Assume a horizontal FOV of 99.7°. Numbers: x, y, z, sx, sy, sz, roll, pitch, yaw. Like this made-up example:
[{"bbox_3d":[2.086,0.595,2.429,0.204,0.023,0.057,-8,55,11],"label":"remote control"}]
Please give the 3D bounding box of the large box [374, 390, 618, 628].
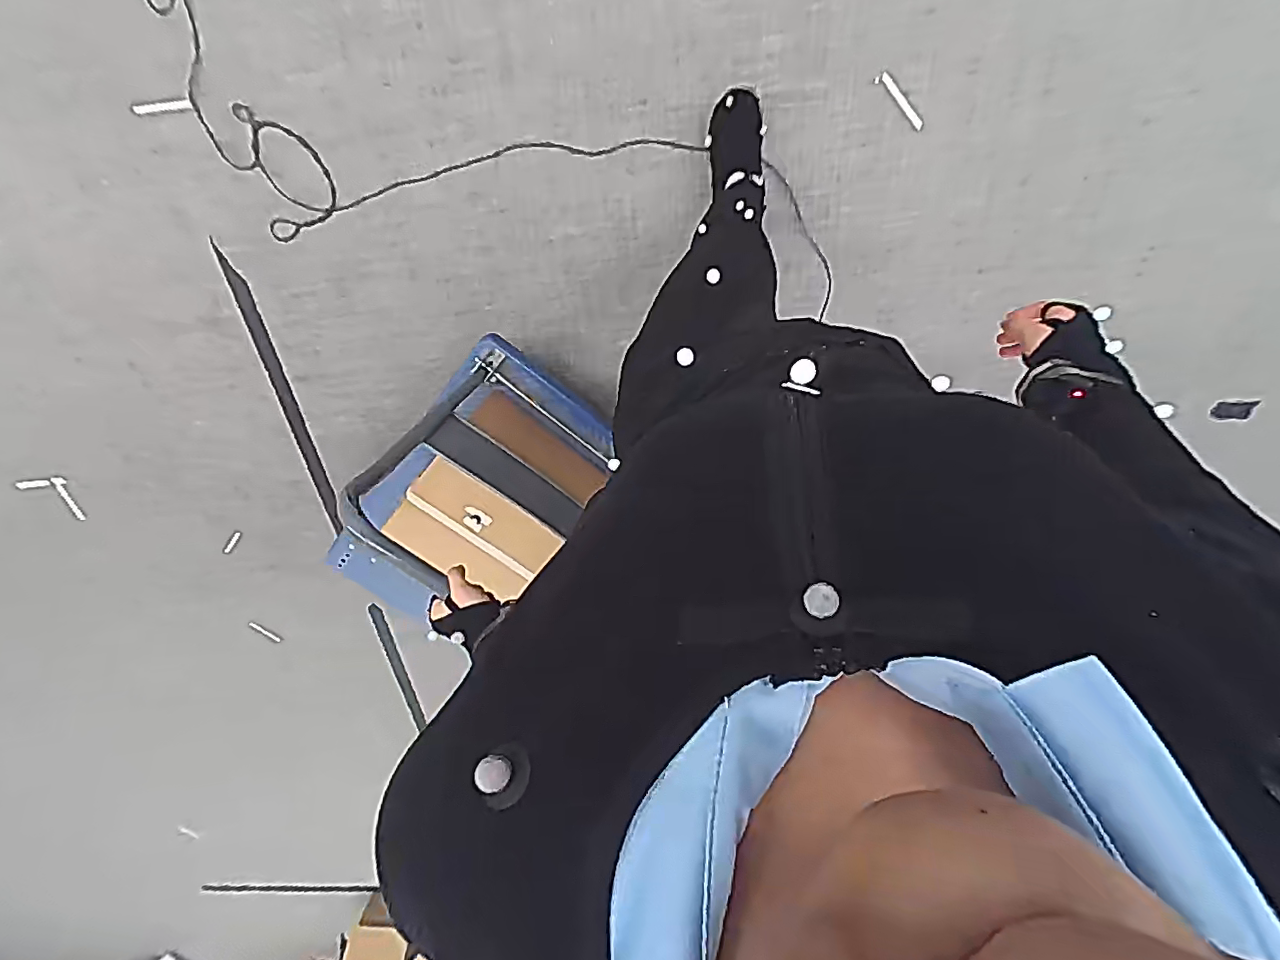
[{"bbox_3d":[-0.309,0.063,1.273,0.408,0.320,0.320,39,113,-16],"label":"large box"}]
